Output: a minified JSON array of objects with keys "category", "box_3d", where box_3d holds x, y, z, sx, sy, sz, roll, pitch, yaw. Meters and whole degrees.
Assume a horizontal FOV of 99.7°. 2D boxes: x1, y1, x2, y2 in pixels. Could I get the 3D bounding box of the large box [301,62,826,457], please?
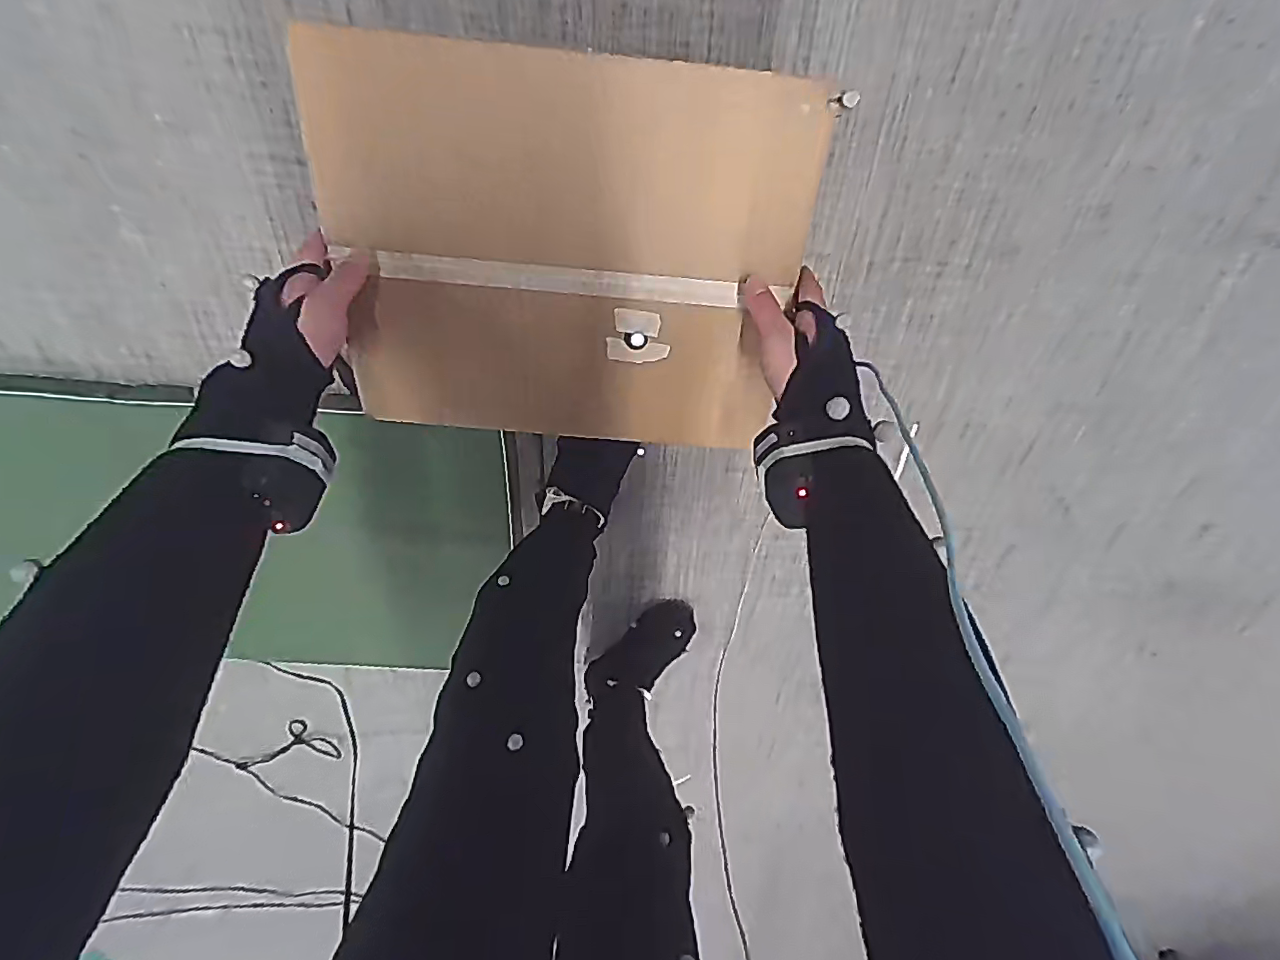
[{"category":"large box","box_3d":[-0.067,-0.241,0.608,0.408,0.320,0.320,4,122,-3]}]
